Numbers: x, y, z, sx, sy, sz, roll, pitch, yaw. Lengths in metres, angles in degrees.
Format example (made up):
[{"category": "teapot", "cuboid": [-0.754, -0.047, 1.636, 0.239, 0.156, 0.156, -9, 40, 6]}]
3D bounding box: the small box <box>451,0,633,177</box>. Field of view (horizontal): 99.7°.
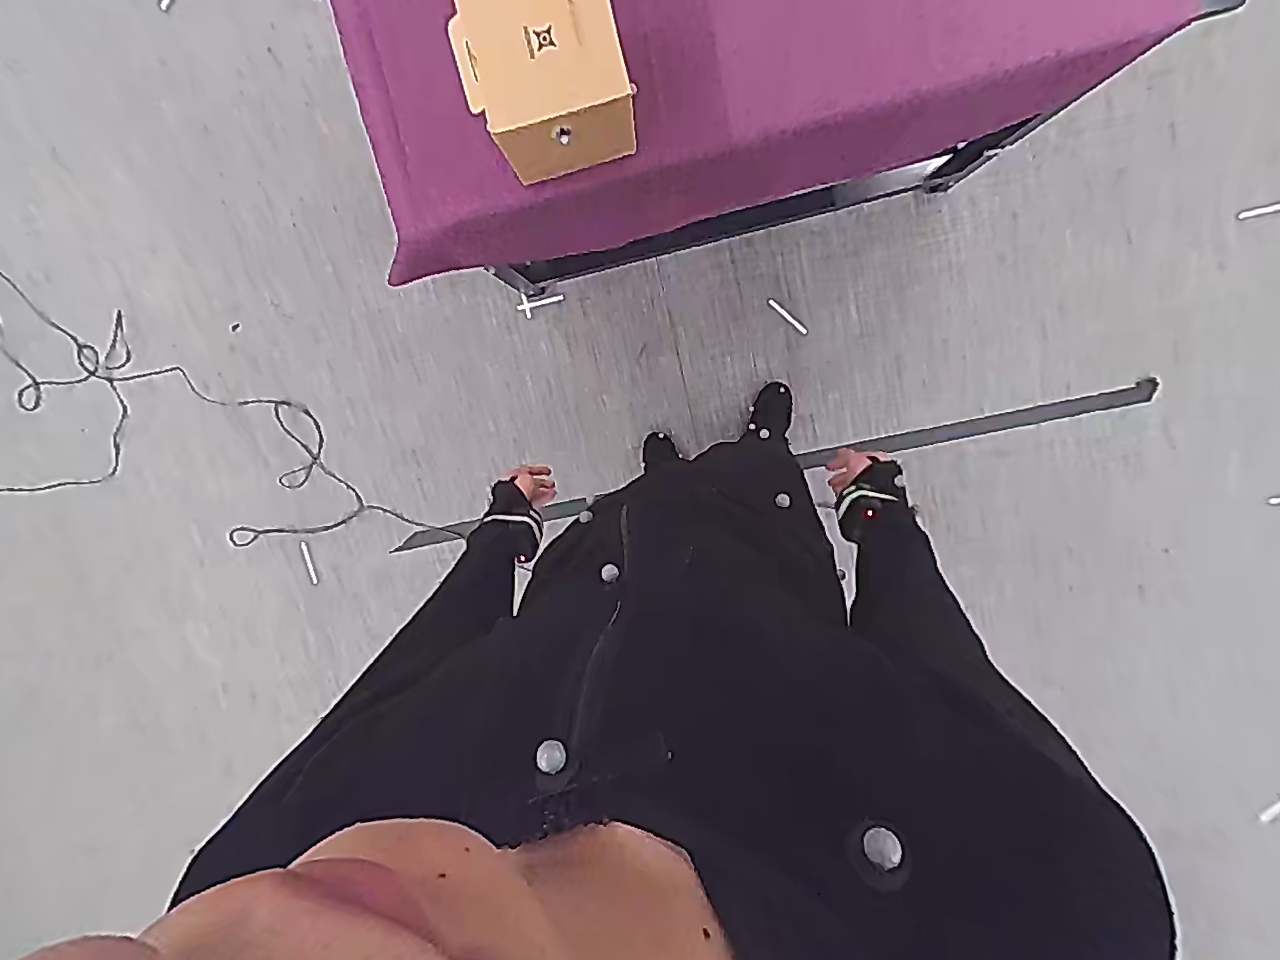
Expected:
[{"category": "small box", "cuboid": [-0.113, -0.521, 0.697, 0.179, 0.176, 0.168, -14, 100, 4]}]
